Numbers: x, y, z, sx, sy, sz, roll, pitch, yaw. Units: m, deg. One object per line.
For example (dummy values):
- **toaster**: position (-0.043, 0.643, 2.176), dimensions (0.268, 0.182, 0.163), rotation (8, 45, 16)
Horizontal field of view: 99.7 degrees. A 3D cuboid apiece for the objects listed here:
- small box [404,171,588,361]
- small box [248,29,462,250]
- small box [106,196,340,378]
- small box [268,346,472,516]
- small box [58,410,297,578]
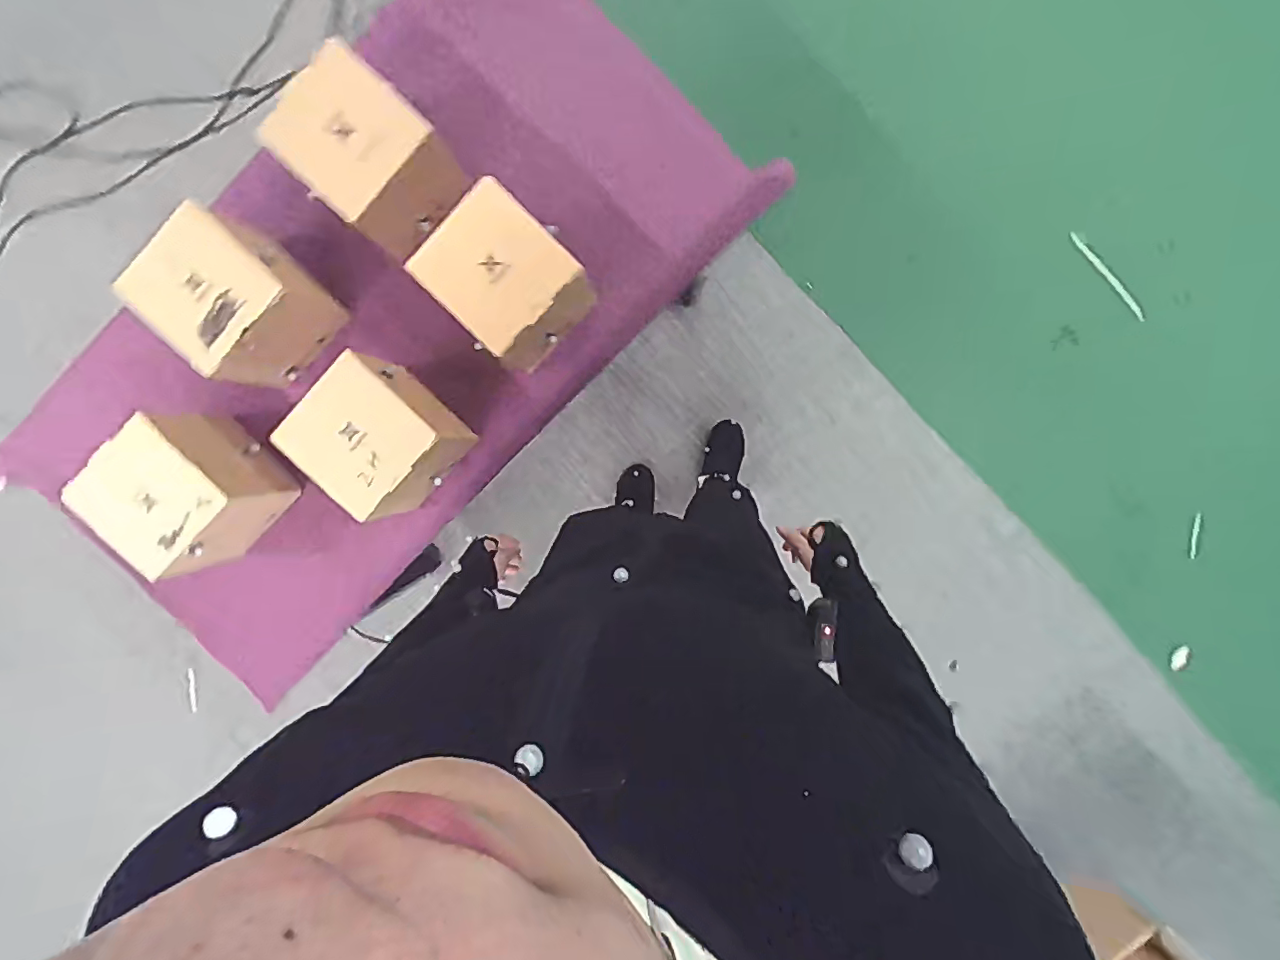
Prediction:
- **small box**: position (-0.197, -0.295, 0.793), dimensions (0.179, 0.176, 0.168), rotation (43, 94, -3)
- **small box**: position (-0.394, -0.469, 0.780), dimensions (0.179, 0.176, 0.168), rotation (42, 95, -4)
- **small box**: position (-0.593, -0.266, 0.798), dimensions (0.179, 0.176, 0.168), rotation (43, 94, -3)
- **small box**: position (-0.388, -0.069, 0.811), dimensions (0.179, 0.176, 0.168), rotation (43, 94, -2)
- **small box**: position (-0.682, 0.015, 0.820), dimensions (0.168, 0.176, 0.179), rotation (-45, 93, 5)
